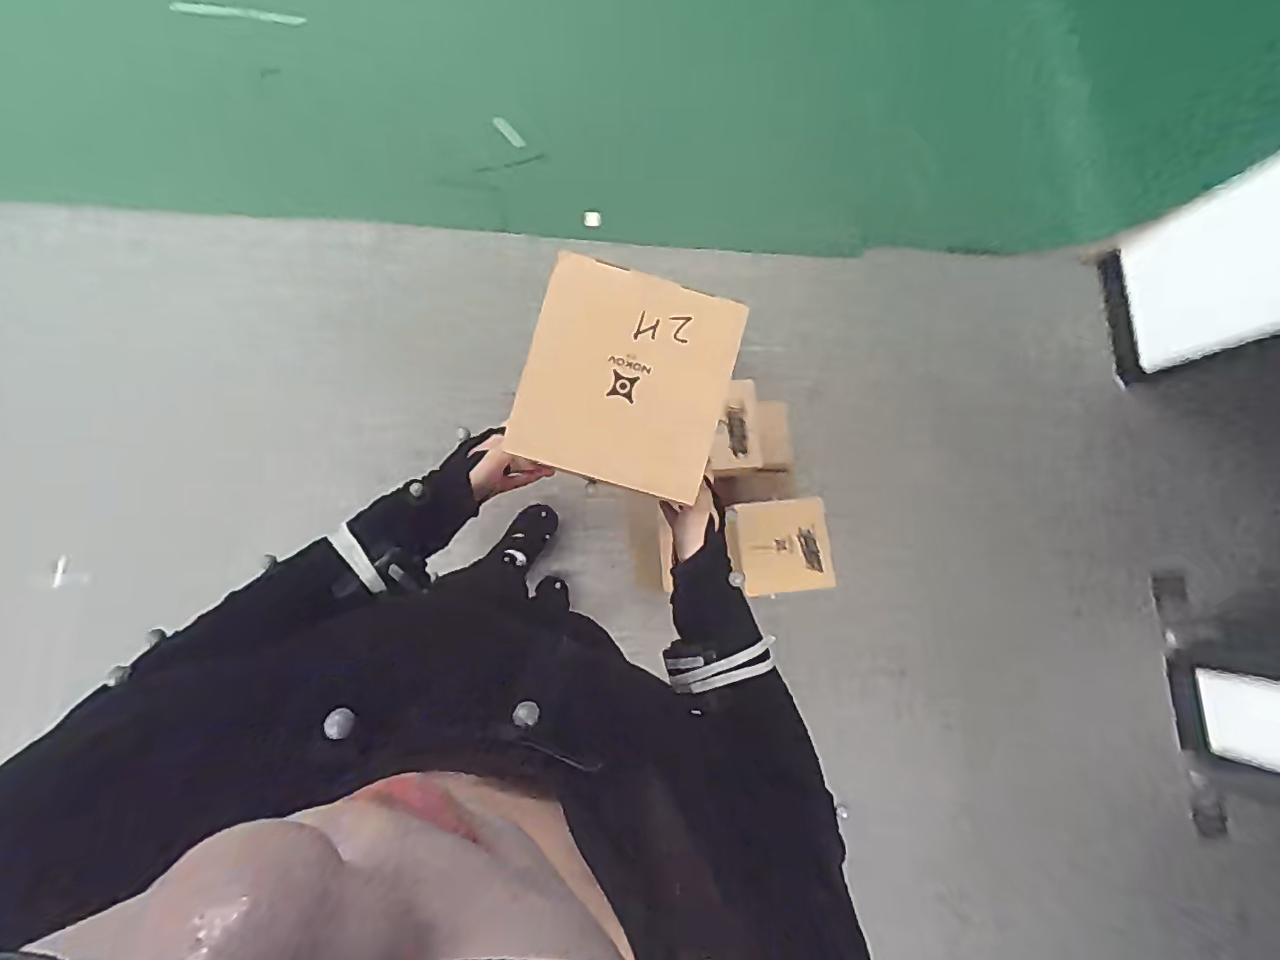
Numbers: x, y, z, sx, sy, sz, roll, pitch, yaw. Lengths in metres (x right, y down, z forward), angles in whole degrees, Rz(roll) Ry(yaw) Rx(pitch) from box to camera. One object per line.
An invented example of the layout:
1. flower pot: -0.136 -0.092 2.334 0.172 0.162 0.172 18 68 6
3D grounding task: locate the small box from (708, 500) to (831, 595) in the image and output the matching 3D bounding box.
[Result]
1. small box: 0.246 0.133 1.062 0.179 0.176 0.168 -3 81 -9

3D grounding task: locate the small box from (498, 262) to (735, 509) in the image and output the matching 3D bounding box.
1. small box: -0.023 -0.079 0.536 0.168 0.176 0.179 16 88 -4
